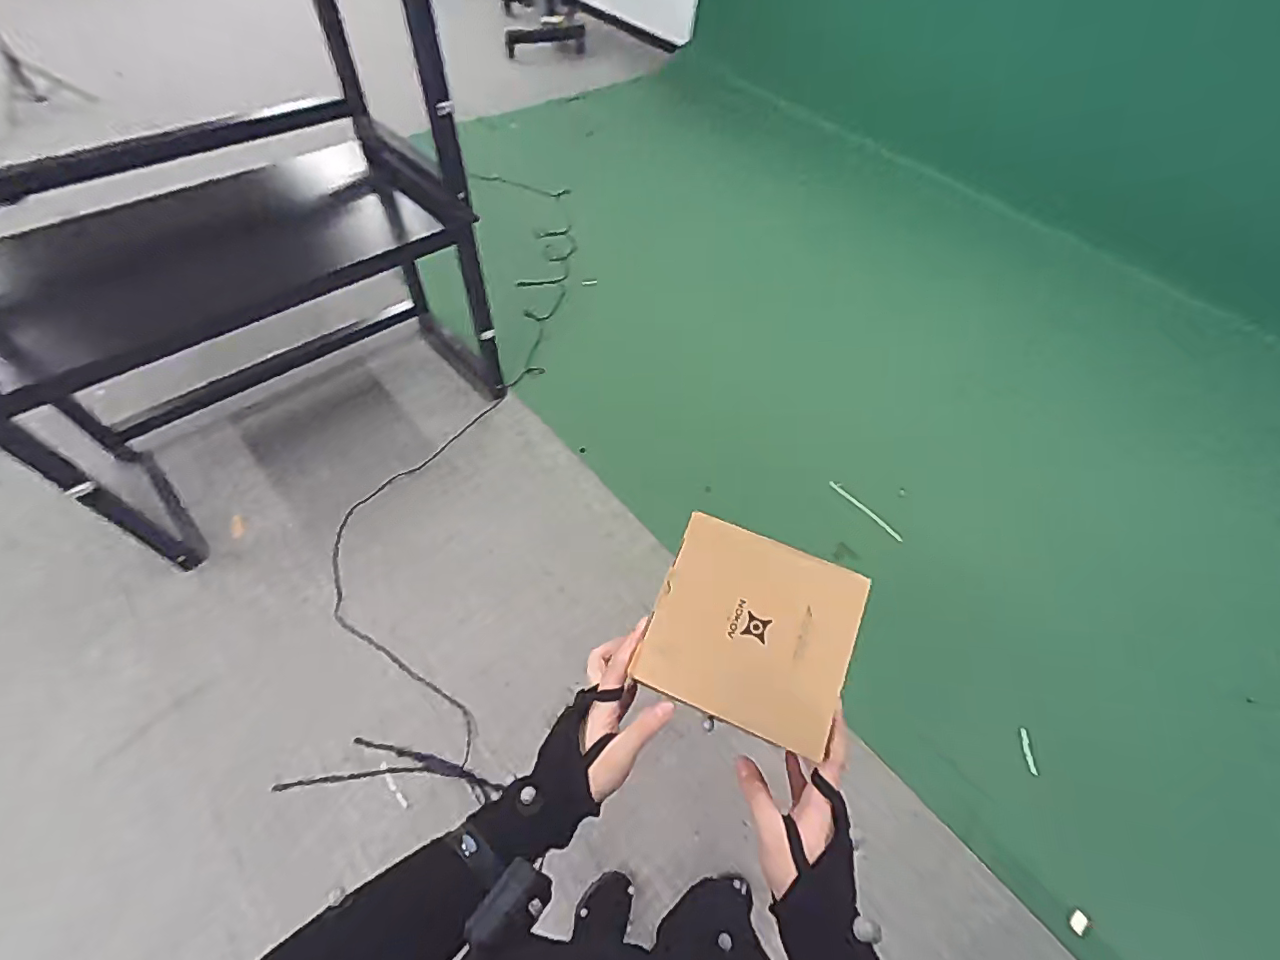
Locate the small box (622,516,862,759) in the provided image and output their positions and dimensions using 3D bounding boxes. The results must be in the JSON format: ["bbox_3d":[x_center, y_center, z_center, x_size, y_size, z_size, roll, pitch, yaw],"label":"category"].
[{"bbox_3d":[0.097,0.163,0.556,0.179,0.176,0.168,20,70,11],"label":"small box"}]
